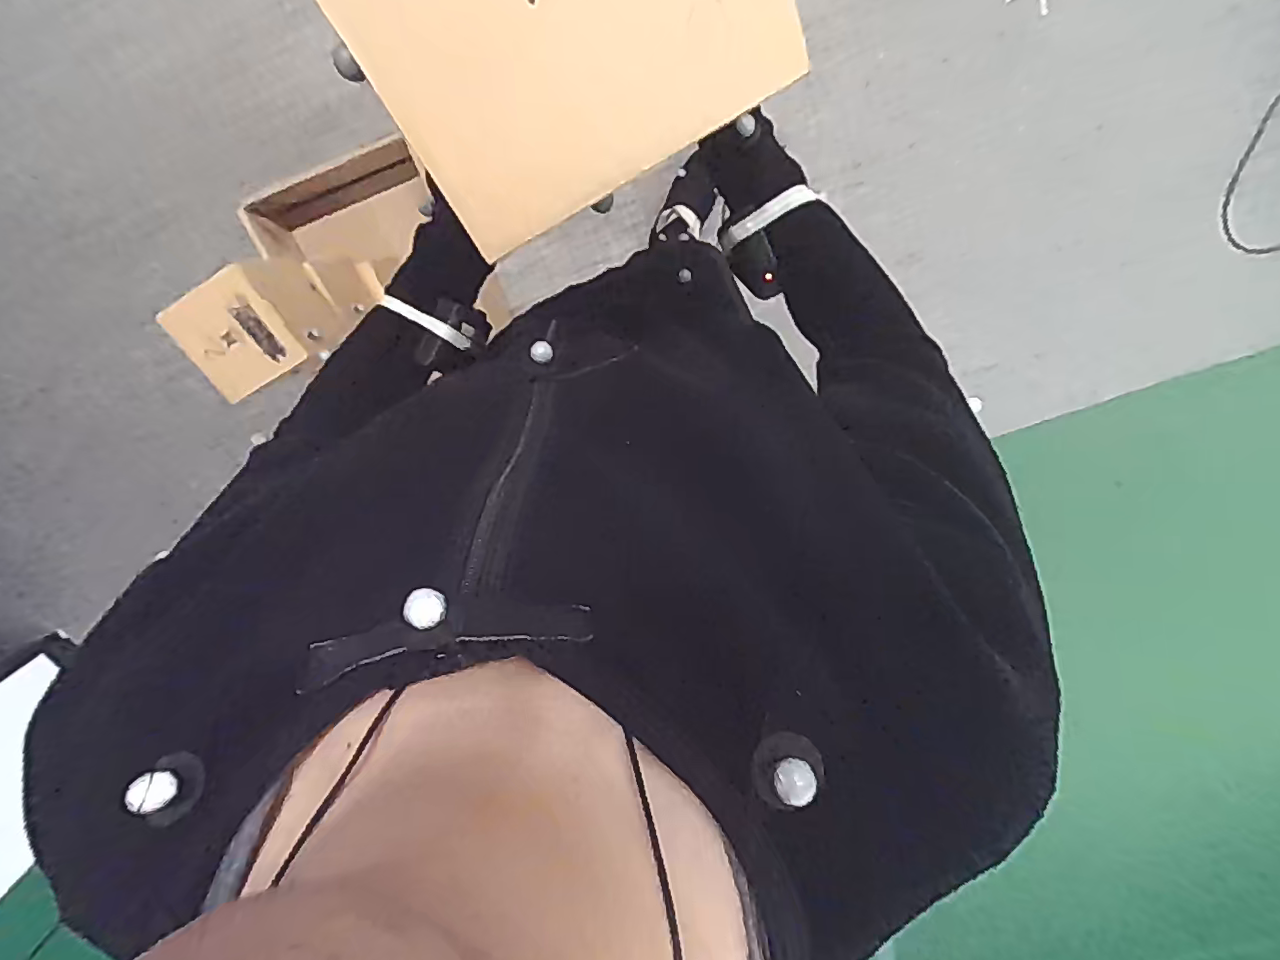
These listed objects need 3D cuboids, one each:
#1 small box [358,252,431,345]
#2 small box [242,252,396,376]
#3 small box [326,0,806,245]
[{"bbox_3d":[-0.615,-0.410,1.242,0.179,0.176,0.168,-18,116,7],"label":"small box"},{"bbox_3d":[-0.633,-0.340,1.094,0.168,0.176,0.179,-21,115,9],"label":"small box"},{"bbox_3d":[-0.045,-0.248,0.259,0.168,0.176,0.179,-25,122,11],"label":"small box"}]
